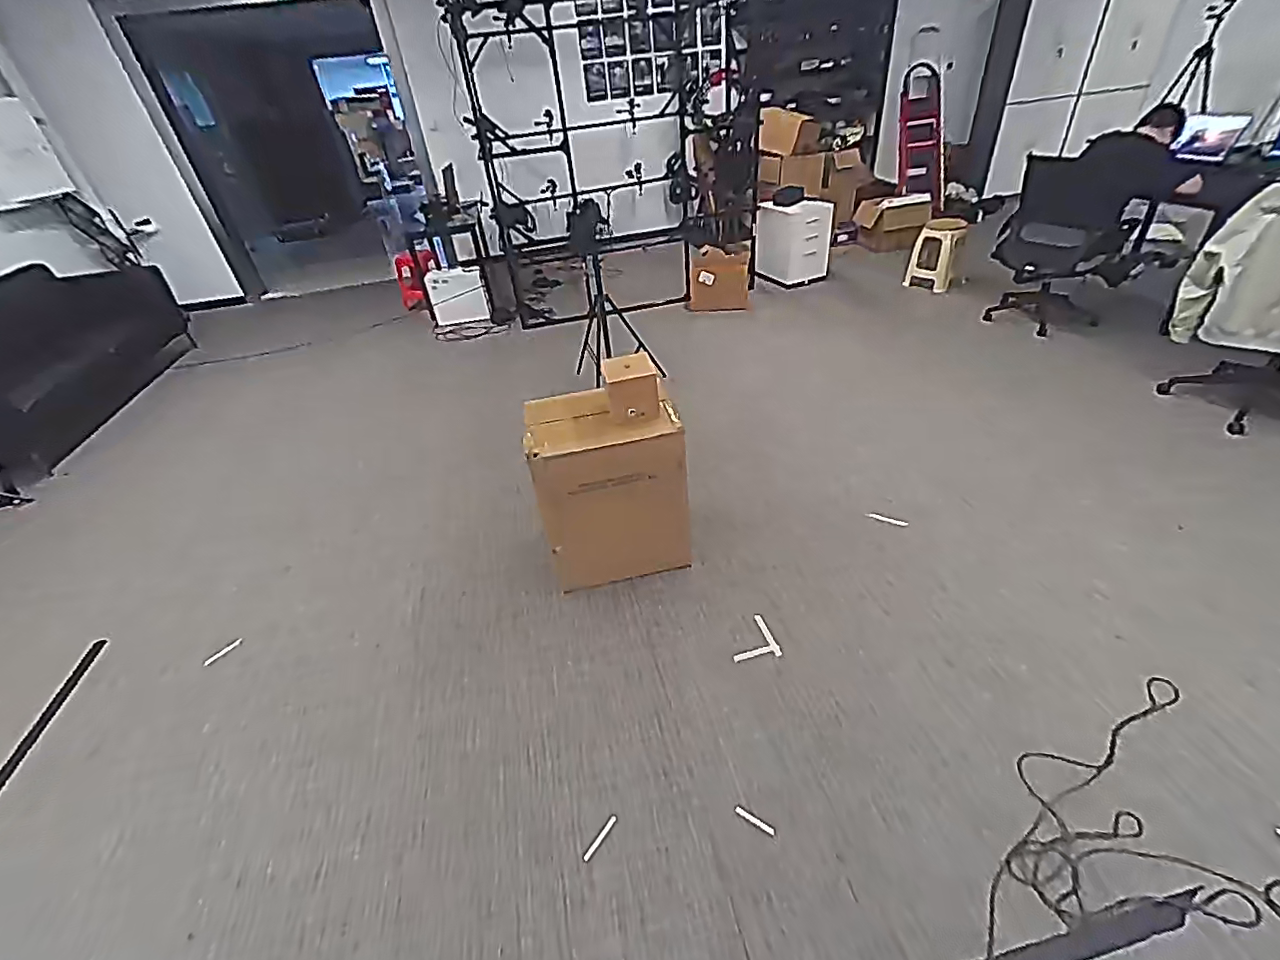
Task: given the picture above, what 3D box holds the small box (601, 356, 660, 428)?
[{"bbox_3d":[-0.032,-0.300,1.845,0.168,0.176,0.179,-13,39,-5],"label":"small box"}]
